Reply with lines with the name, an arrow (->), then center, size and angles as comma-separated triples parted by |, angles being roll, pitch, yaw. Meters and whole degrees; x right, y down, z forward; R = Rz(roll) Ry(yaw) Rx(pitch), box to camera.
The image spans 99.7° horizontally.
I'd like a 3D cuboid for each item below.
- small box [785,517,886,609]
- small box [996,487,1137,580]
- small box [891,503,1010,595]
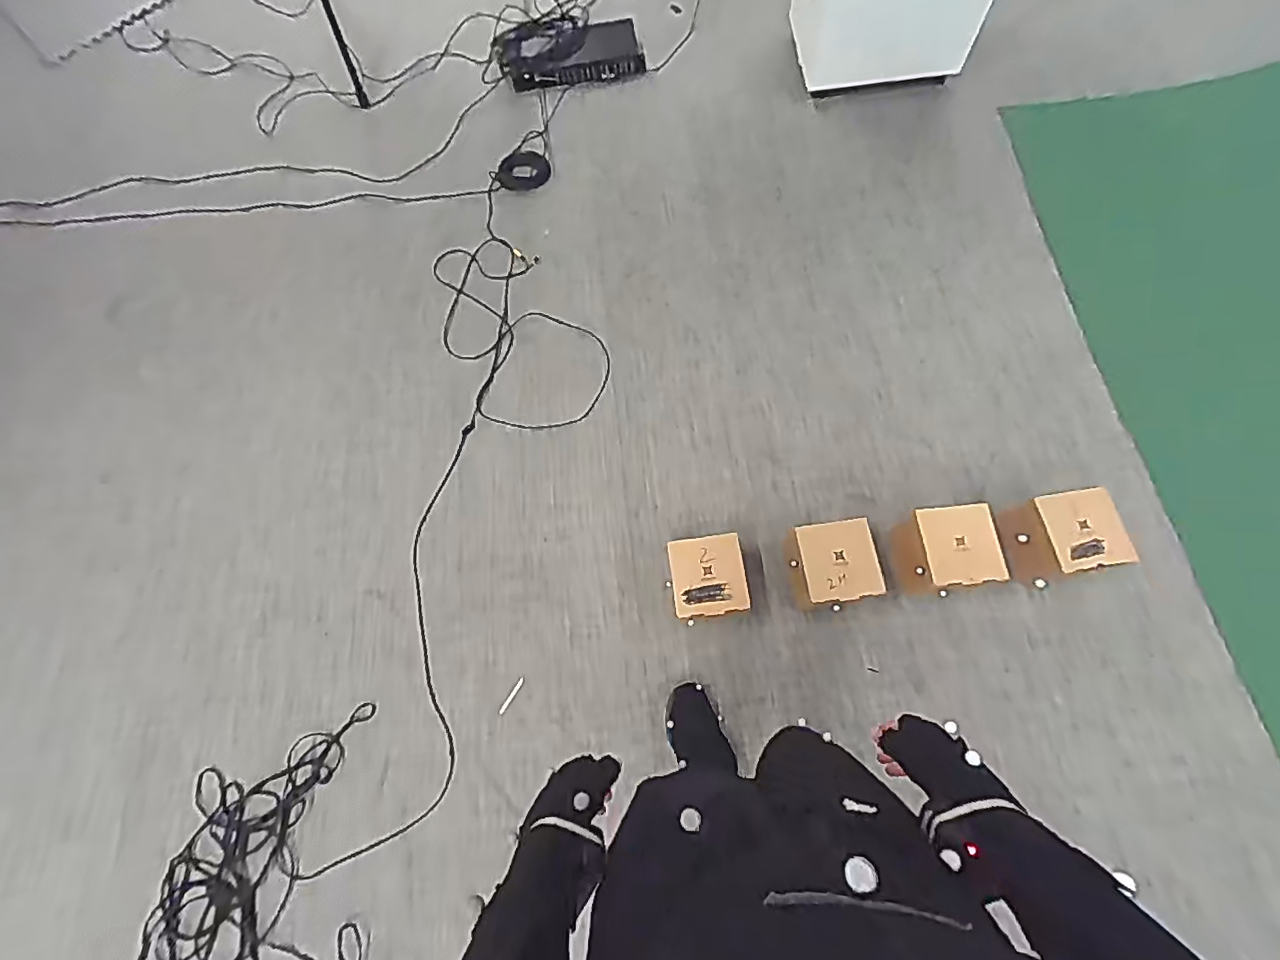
small box -> 0.449, 0.199, 1.274 | 0.168, 0.176, 0.179 | -8, 71, 2
small box -> 0.982, 0.132, 1.263 | 0.168, 0.176, 0.179 | -9, 70, 1
small box -> 0.716, 0.166, 1.271 | 0.168, 0.176, 0.179 | -6, 71, 2
